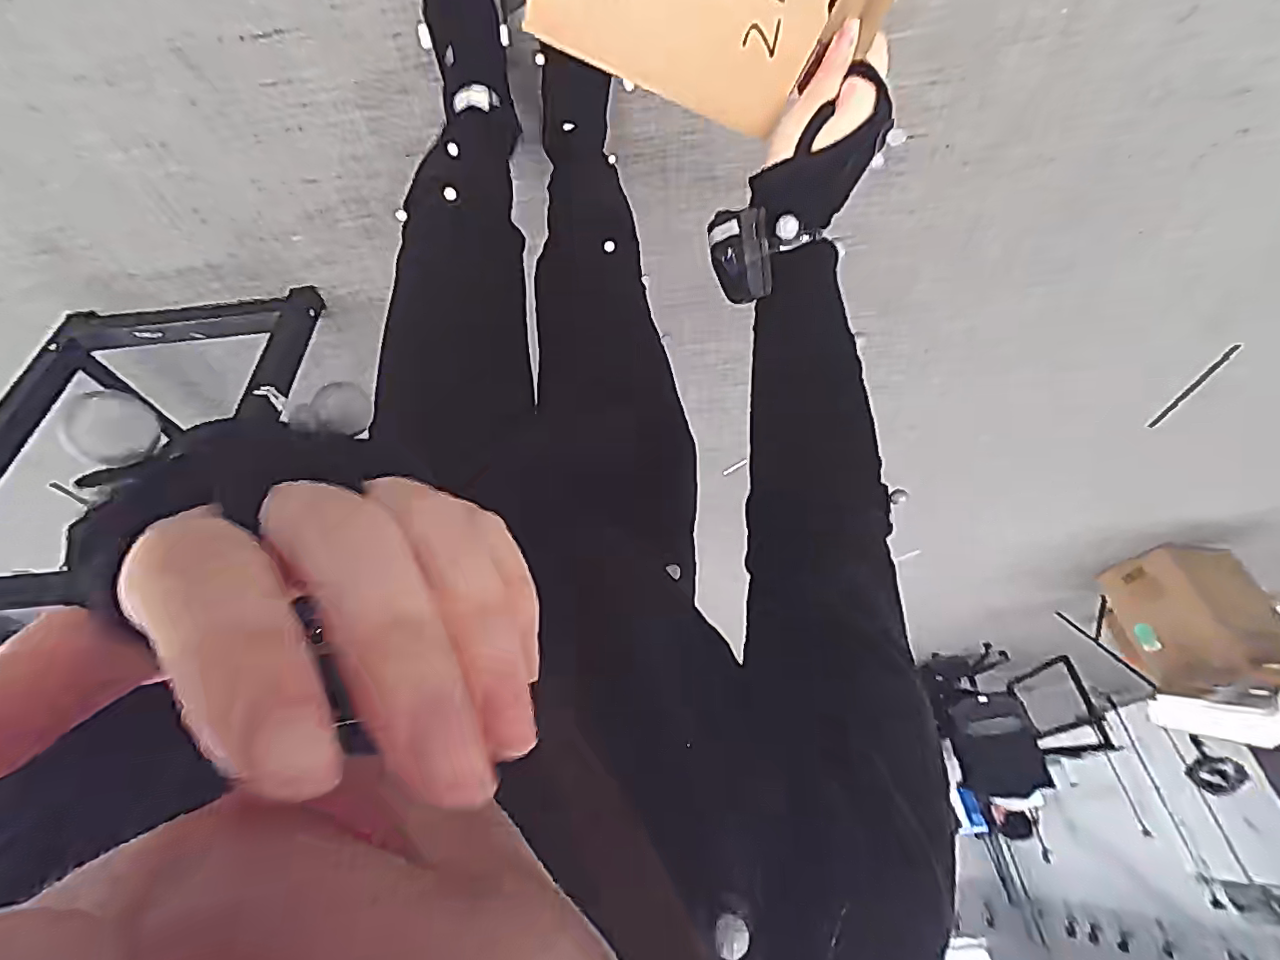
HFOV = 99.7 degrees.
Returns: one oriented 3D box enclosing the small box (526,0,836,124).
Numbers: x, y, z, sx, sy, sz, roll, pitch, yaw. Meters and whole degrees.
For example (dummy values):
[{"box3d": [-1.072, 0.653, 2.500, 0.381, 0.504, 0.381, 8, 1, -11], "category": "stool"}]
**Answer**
[{"box3d": [0.036, -0.369, 0.332, 0.179, 0.176, 0.168, 12, 141, -20], "category": "small box"}]
